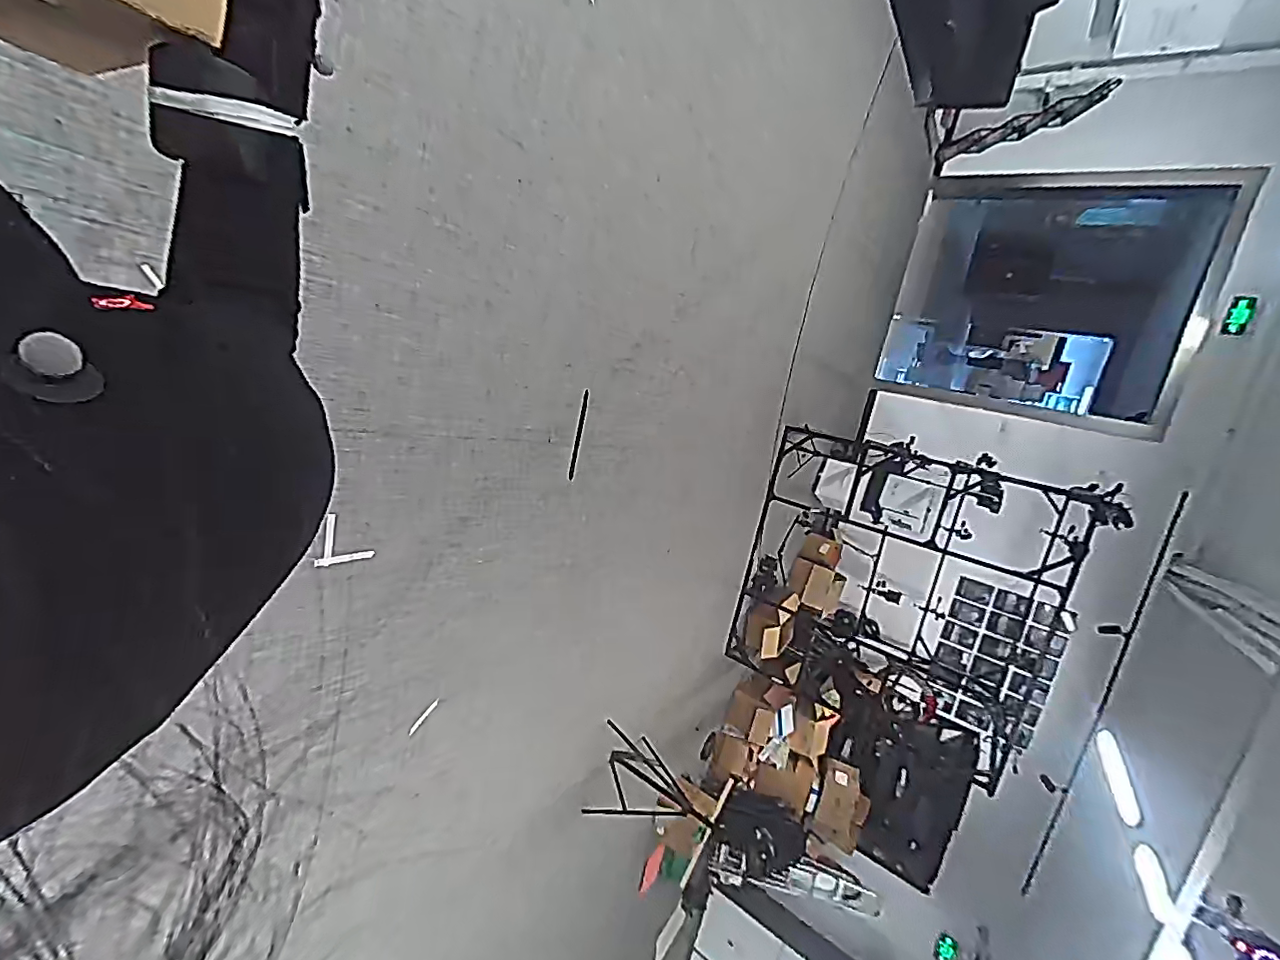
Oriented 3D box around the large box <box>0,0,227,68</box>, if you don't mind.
[{"bbox_3d":[-0.453,-0.452,0.217,0.408,0.320,0.320,-4,114,-56],"label":"large box"}]
